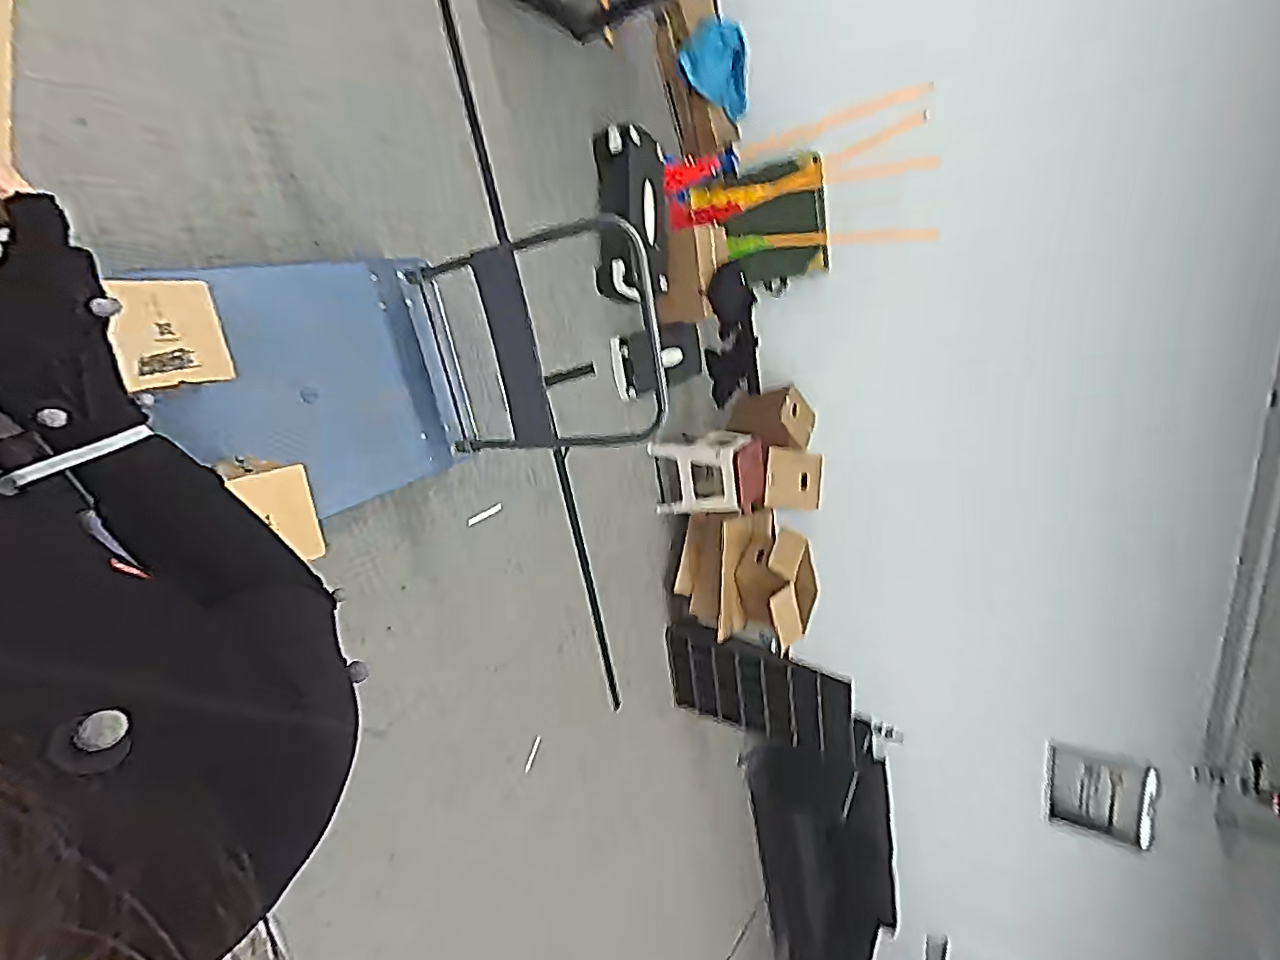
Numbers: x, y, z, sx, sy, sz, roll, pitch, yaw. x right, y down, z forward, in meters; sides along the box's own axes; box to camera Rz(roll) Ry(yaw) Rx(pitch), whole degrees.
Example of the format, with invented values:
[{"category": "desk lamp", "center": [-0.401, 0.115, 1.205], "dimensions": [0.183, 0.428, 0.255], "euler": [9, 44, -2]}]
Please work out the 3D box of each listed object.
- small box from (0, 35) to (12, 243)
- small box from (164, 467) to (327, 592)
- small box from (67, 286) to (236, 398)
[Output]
[{"category": "small box", "center": [-0.468, -0.223, 0.247], "dimensions": [0.179, 0.168, 0.176], "euler": [-12, 101, -86]}, {"category": "small box", "center": [-0.700, 0.077, 0.961], "dimensions": [0.168, 0.176, 0.179], "euler": [-25, 114, -52]}, {"category": "small box", "center": [-0.873, -0.244, 0.971], "dimensions": [0.168, 0.176, 0.179], "euler": [-27, 113, -52]}]
